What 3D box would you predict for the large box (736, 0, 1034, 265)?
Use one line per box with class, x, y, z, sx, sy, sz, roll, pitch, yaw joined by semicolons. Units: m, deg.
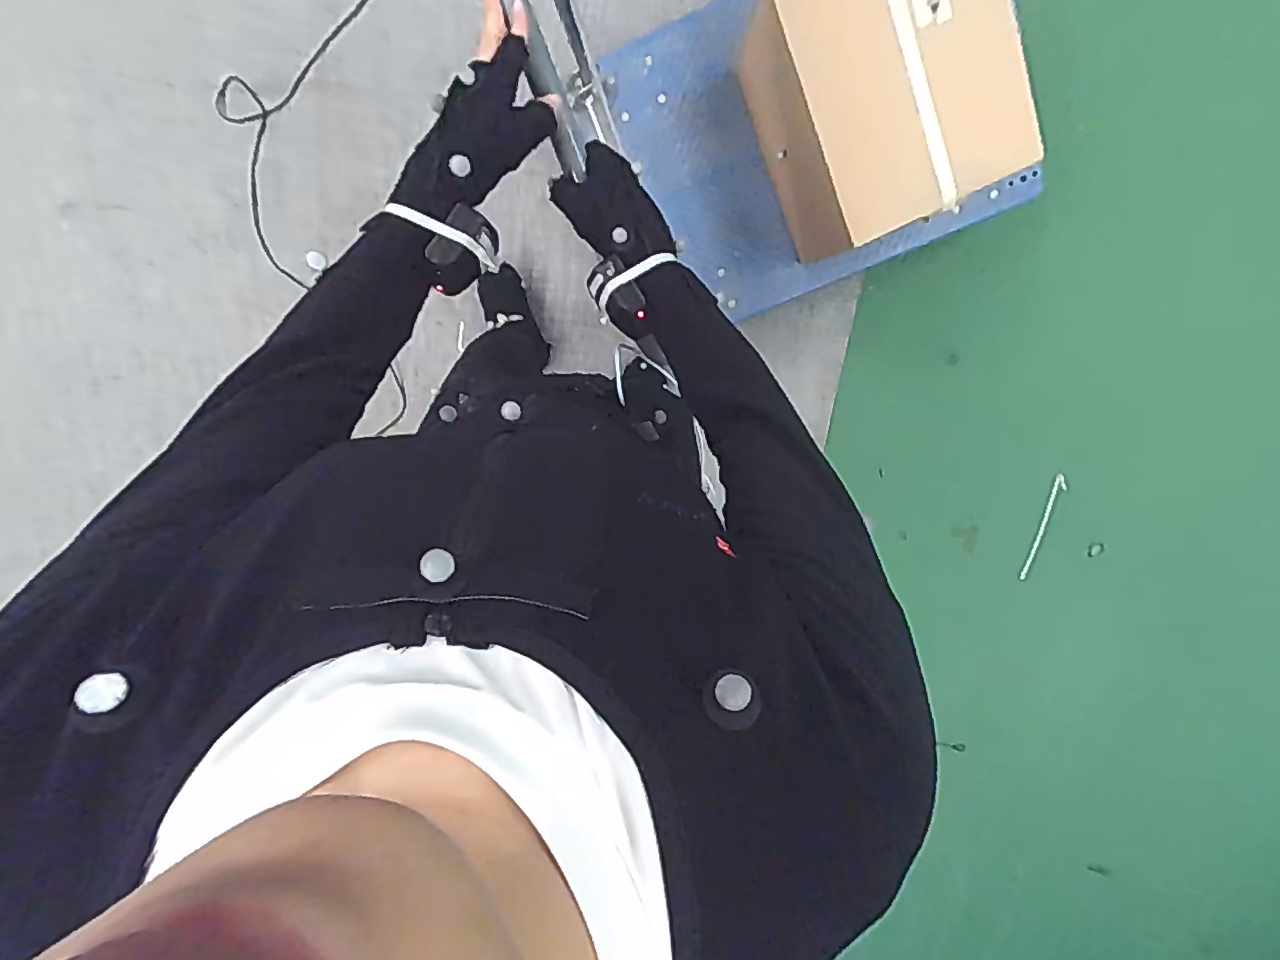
large box;0.403;-0.654;0.963;0.320;0.320;0.408;-23;104;6
